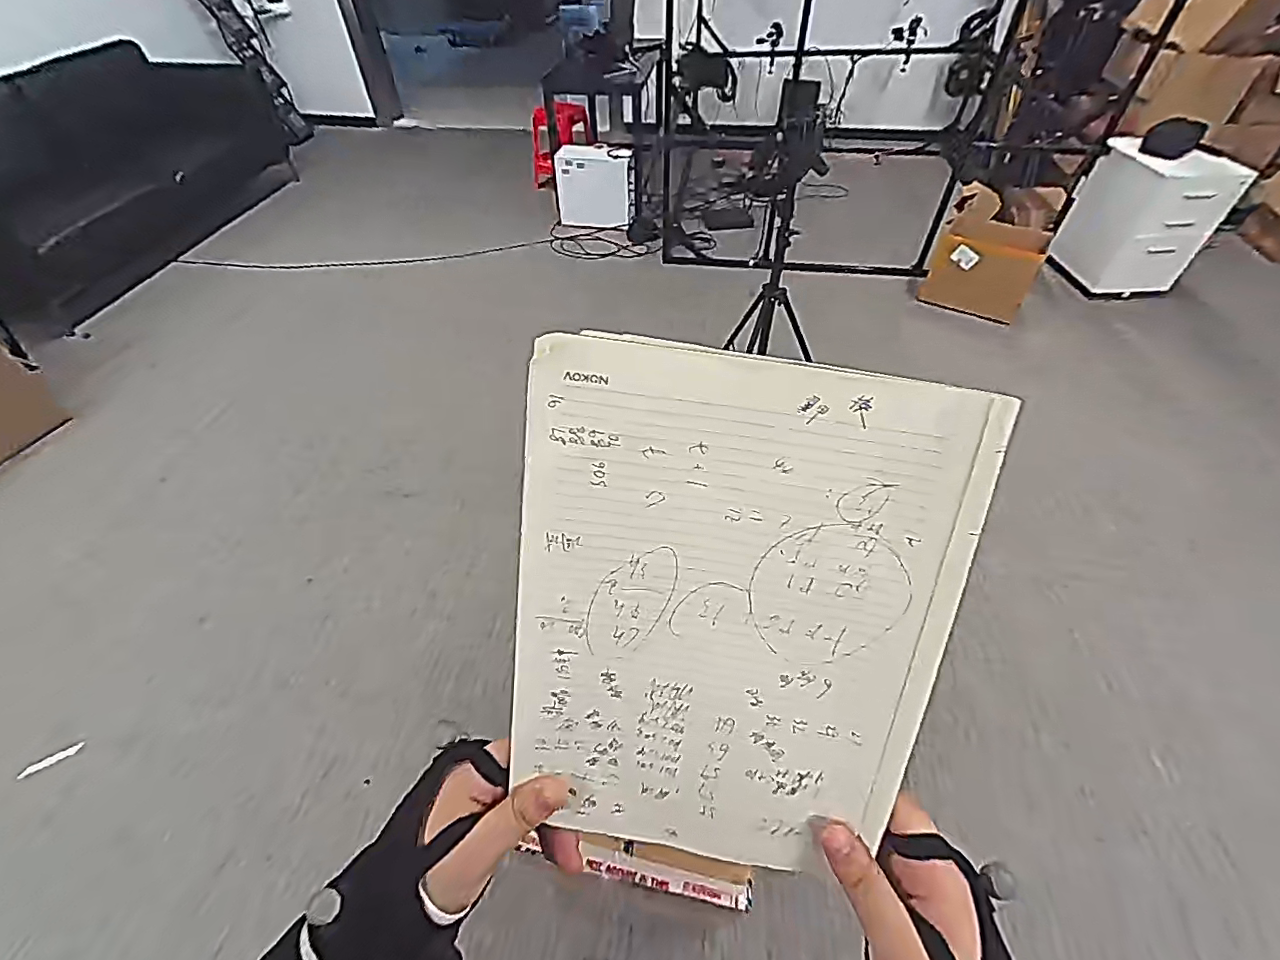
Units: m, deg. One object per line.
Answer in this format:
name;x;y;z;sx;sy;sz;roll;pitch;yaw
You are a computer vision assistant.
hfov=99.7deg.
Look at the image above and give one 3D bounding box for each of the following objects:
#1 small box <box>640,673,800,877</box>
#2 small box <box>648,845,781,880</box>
small box;0.098;0.383;0.700;0.168;0.176;0.179;13;51;8
small box;0.114;0.491;0.824;0.179;0.176;0.168;9;50;7
